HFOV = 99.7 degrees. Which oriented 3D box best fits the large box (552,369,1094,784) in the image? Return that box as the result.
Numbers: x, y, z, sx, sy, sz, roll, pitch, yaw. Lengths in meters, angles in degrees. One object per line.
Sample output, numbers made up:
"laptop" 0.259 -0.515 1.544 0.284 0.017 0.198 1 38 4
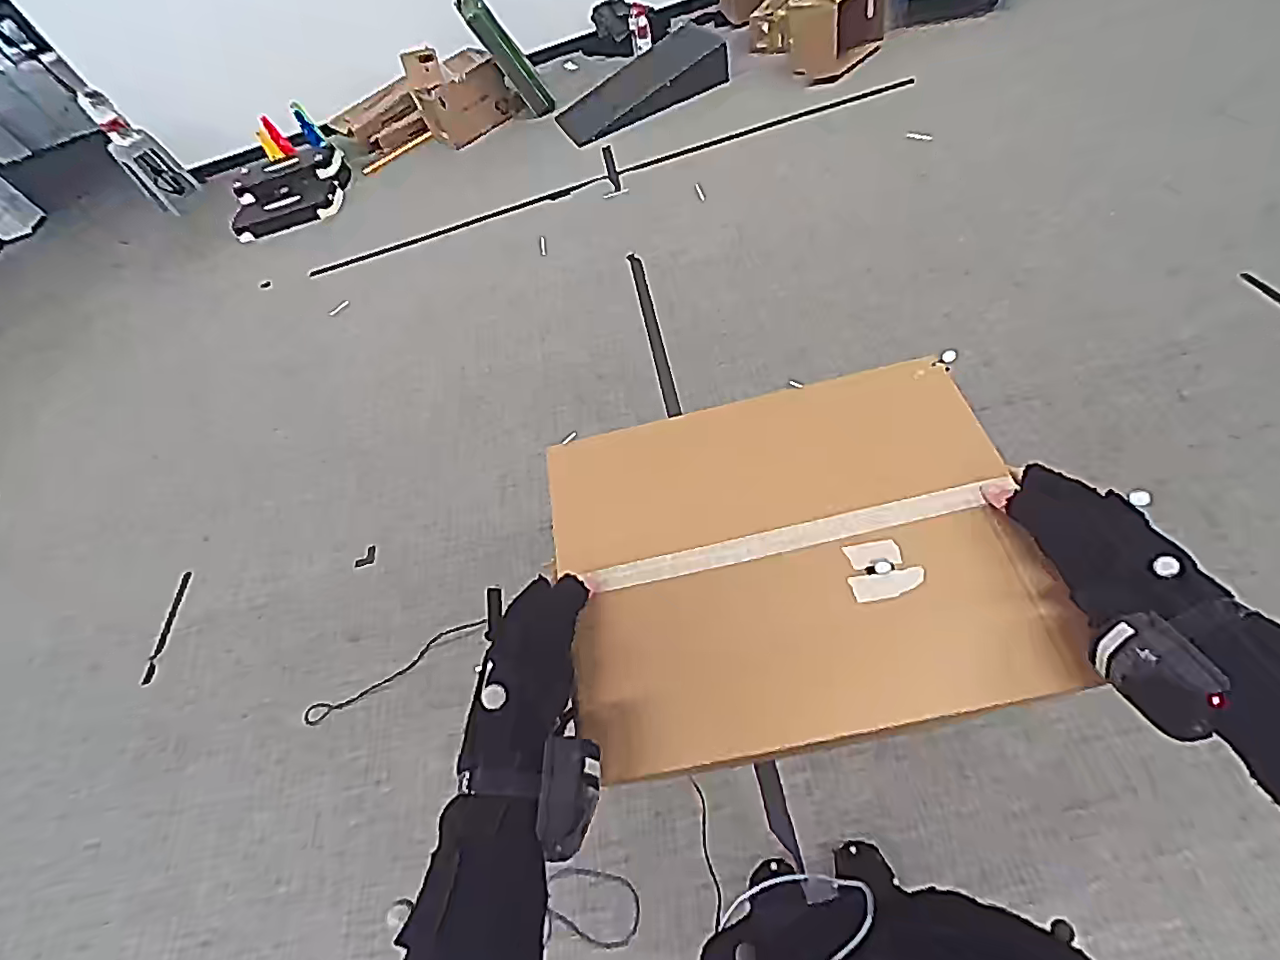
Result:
"large box" 0.147 0.132 0.616 0.408 0.320 0.320 -13 60 2
